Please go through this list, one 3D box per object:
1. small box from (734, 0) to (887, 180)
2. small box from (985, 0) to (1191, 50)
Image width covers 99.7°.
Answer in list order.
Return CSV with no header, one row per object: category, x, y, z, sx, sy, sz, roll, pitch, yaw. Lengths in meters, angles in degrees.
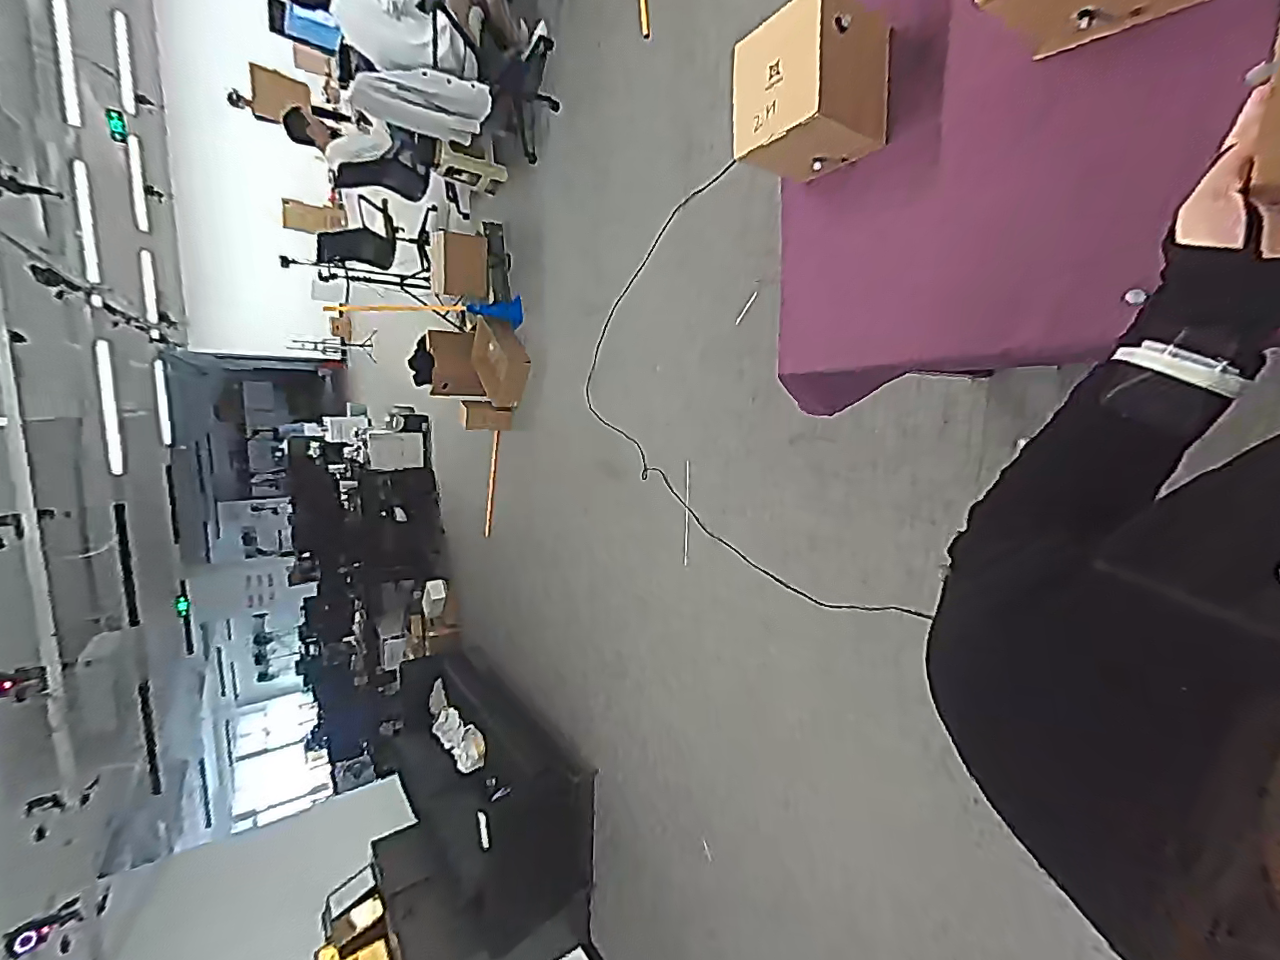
small box,0.267,-0.608,0.851,0.168,0.176,0.179,9,102,55
small box,0.481,-0.594,0.551,0.168,0.176,0.179,20,112,53
